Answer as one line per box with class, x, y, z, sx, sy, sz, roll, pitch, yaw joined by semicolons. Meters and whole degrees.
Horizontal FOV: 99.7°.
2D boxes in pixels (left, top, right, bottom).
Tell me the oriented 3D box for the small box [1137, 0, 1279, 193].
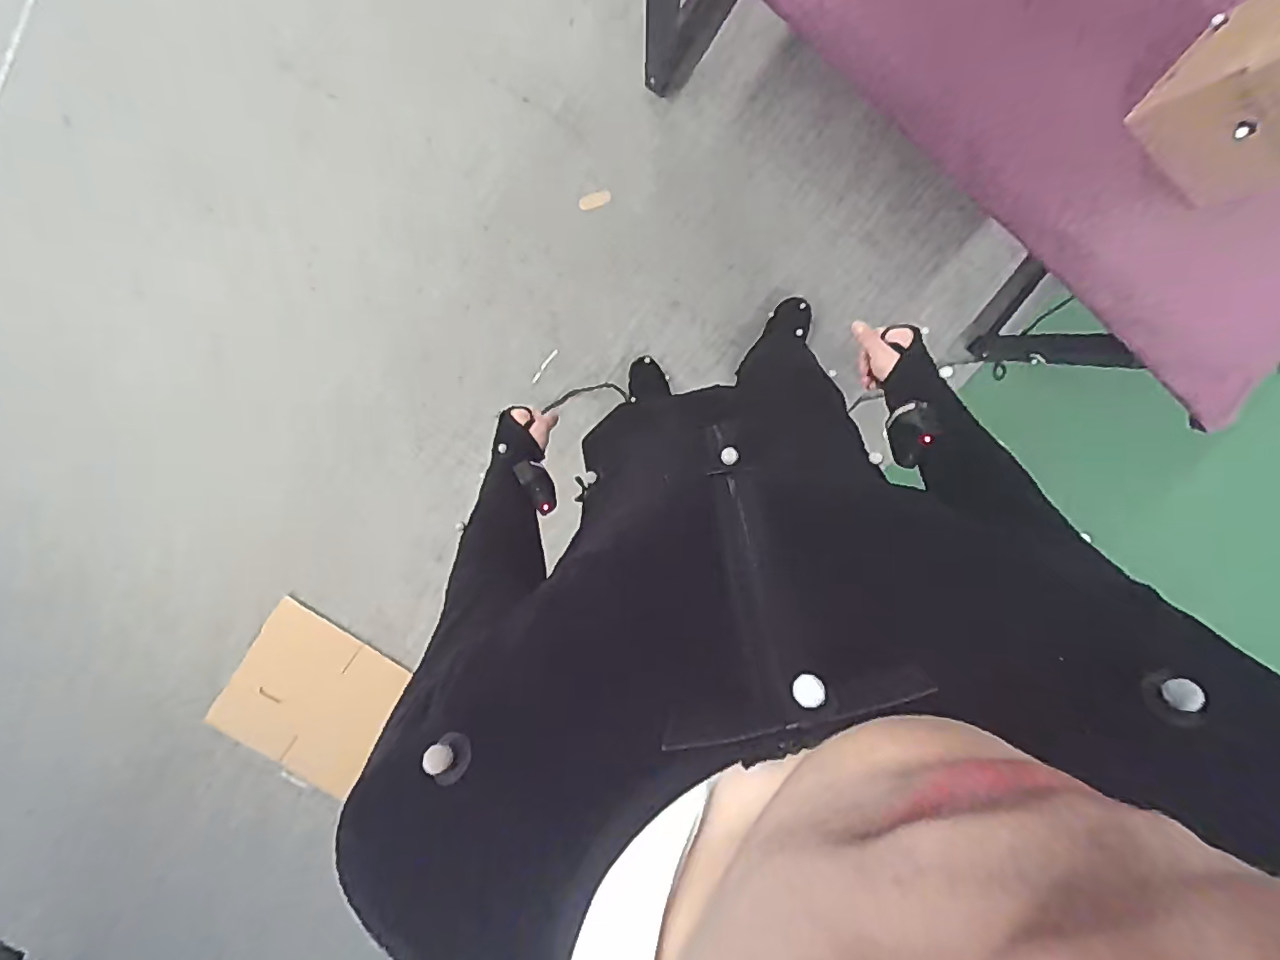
small box;0.795;-0.494;0.671;0.179;0.176;0.168;38;103;-9
